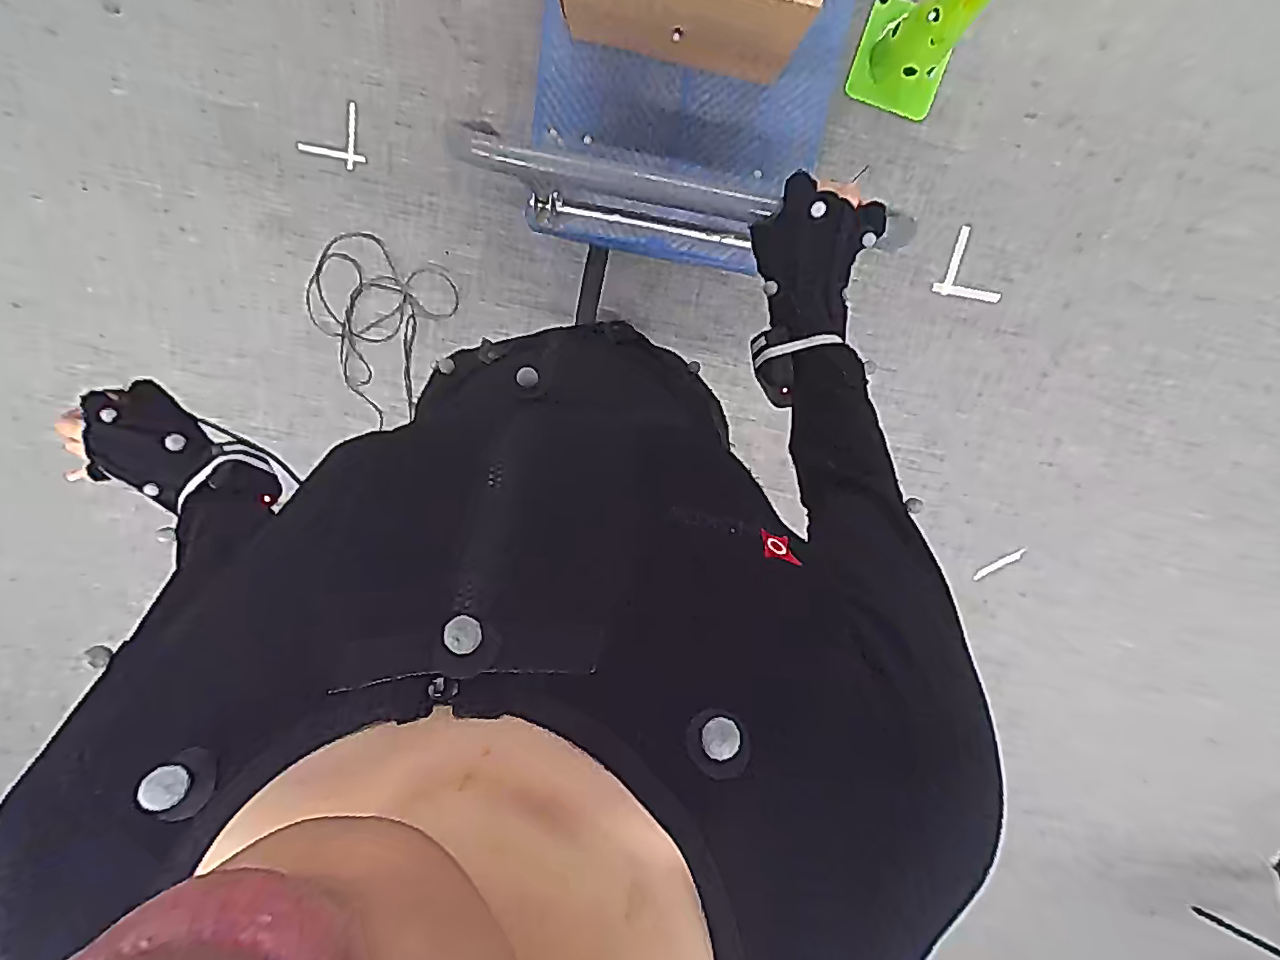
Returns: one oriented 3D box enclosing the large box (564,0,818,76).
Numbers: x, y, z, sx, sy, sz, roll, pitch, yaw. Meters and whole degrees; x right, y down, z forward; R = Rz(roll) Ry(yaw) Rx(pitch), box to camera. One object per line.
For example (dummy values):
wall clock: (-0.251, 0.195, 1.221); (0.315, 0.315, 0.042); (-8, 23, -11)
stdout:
large box: (0.092, -0.910, 0.862); (0.408, 0.320, 0.320); (11, 109, -3)

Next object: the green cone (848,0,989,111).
green cone: (0.581, -0.890, 1.023); (0.202, 0.368, 0.200); (15, 108, -7)
